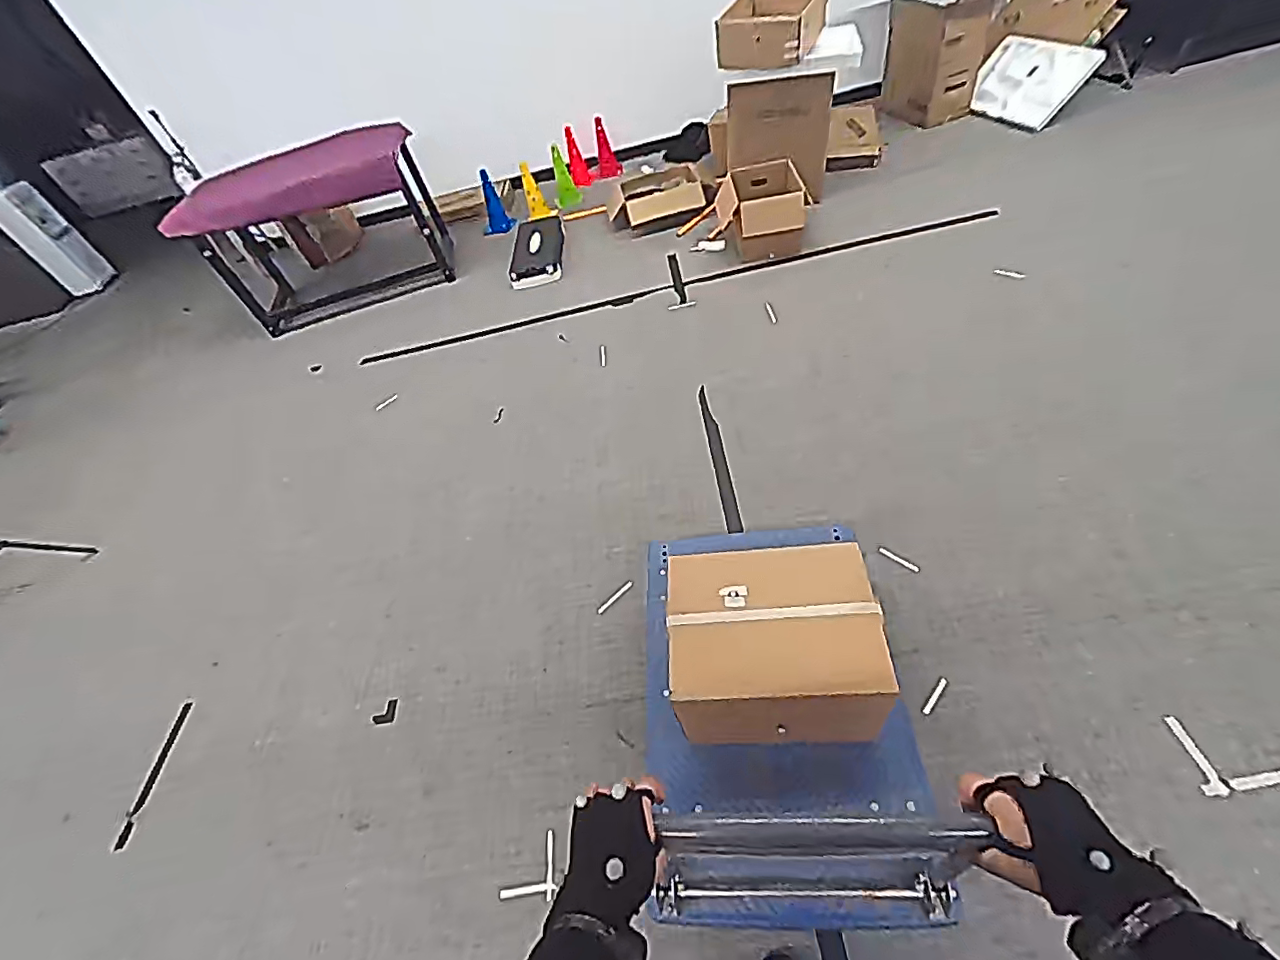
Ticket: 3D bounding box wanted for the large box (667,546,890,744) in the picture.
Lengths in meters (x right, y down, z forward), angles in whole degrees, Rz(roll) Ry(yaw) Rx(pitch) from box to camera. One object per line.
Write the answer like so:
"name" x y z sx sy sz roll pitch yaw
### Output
"large box" 0.285 0.376 1.197 0.408 0.320 0.320 -7 48 10
